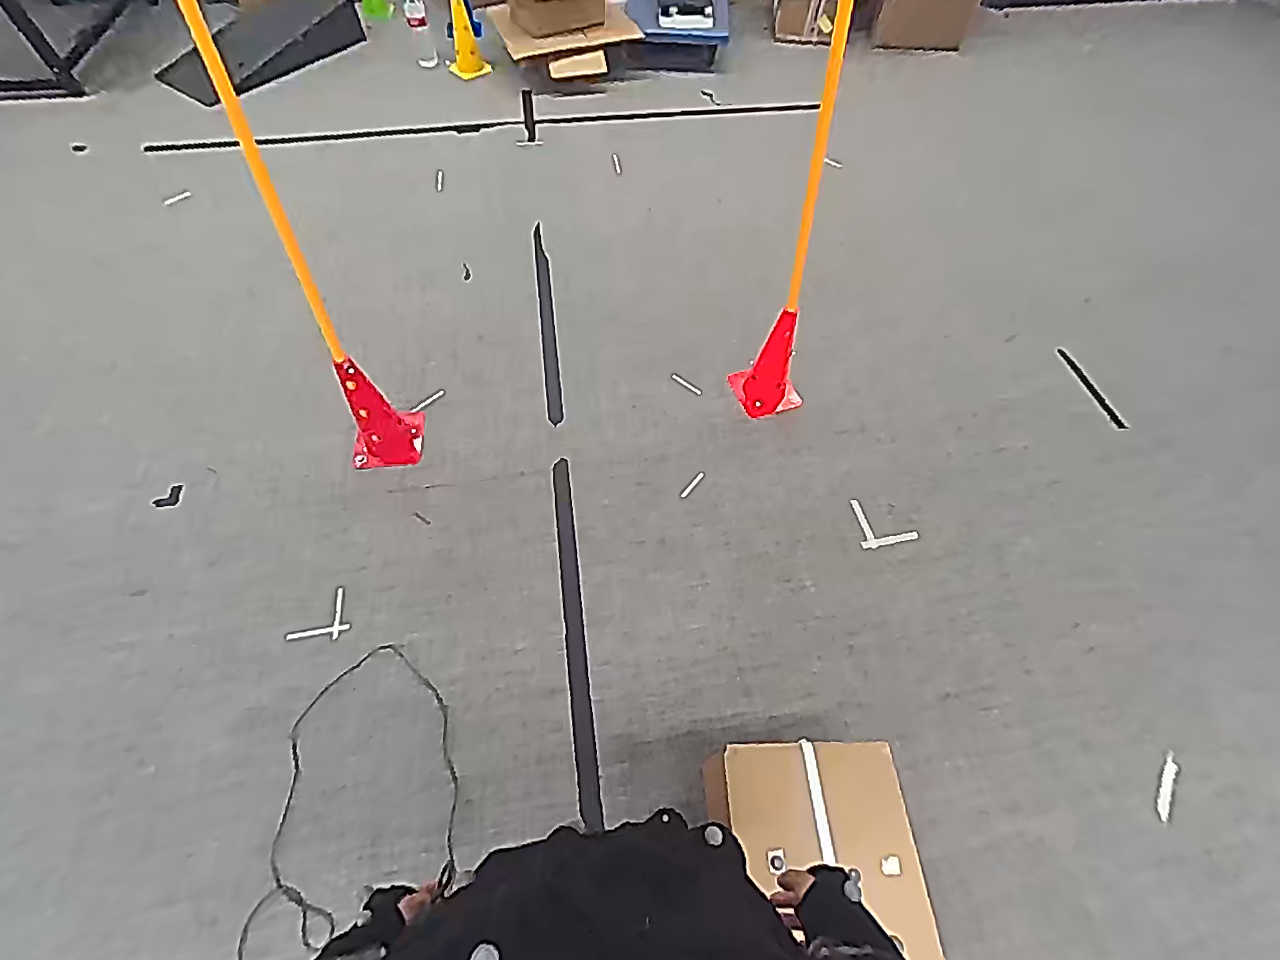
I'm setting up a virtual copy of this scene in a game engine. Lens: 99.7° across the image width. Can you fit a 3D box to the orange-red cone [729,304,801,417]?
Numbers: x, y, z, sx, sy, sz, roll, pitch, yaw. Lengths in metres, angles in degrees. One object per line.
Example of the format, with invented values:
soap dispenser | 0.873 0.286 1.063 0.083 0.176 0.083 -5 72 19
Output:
orange-red cone | 0.422 -0.389 1.658 0.199 0.360 0.198 -14 61 -12
